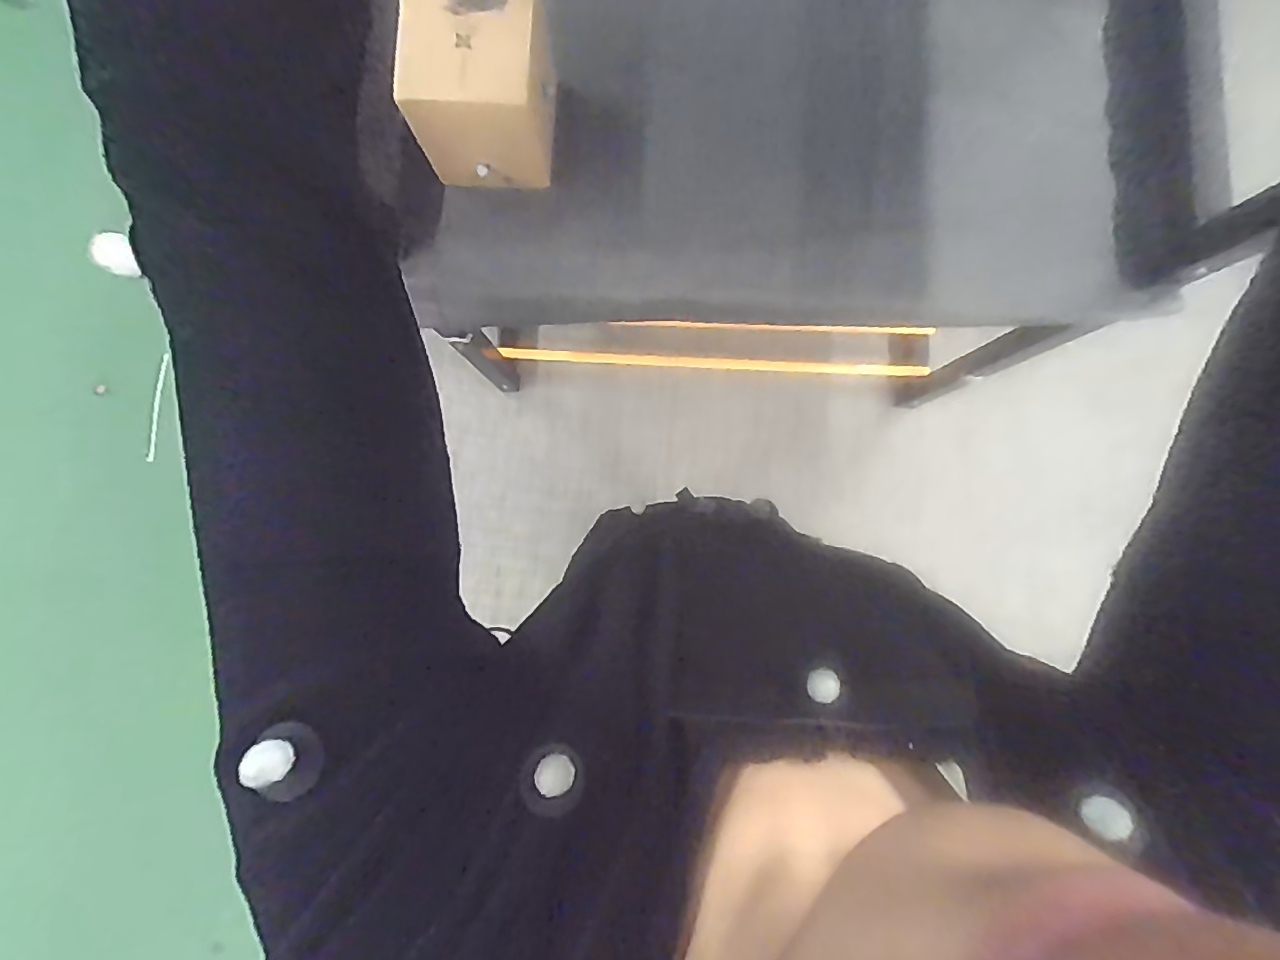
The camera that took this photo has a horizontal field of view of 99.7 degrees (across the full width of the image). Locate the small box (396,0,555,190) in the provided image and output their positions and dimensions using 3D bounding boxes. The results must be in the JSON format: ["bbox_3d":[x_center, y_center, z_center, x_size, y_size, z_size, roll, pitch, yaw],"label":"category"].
[{"bbox_3d":[-0.213,-0.537,0.746,0.168,0.176,0.179,2,85,0],"label":"small box"}]
